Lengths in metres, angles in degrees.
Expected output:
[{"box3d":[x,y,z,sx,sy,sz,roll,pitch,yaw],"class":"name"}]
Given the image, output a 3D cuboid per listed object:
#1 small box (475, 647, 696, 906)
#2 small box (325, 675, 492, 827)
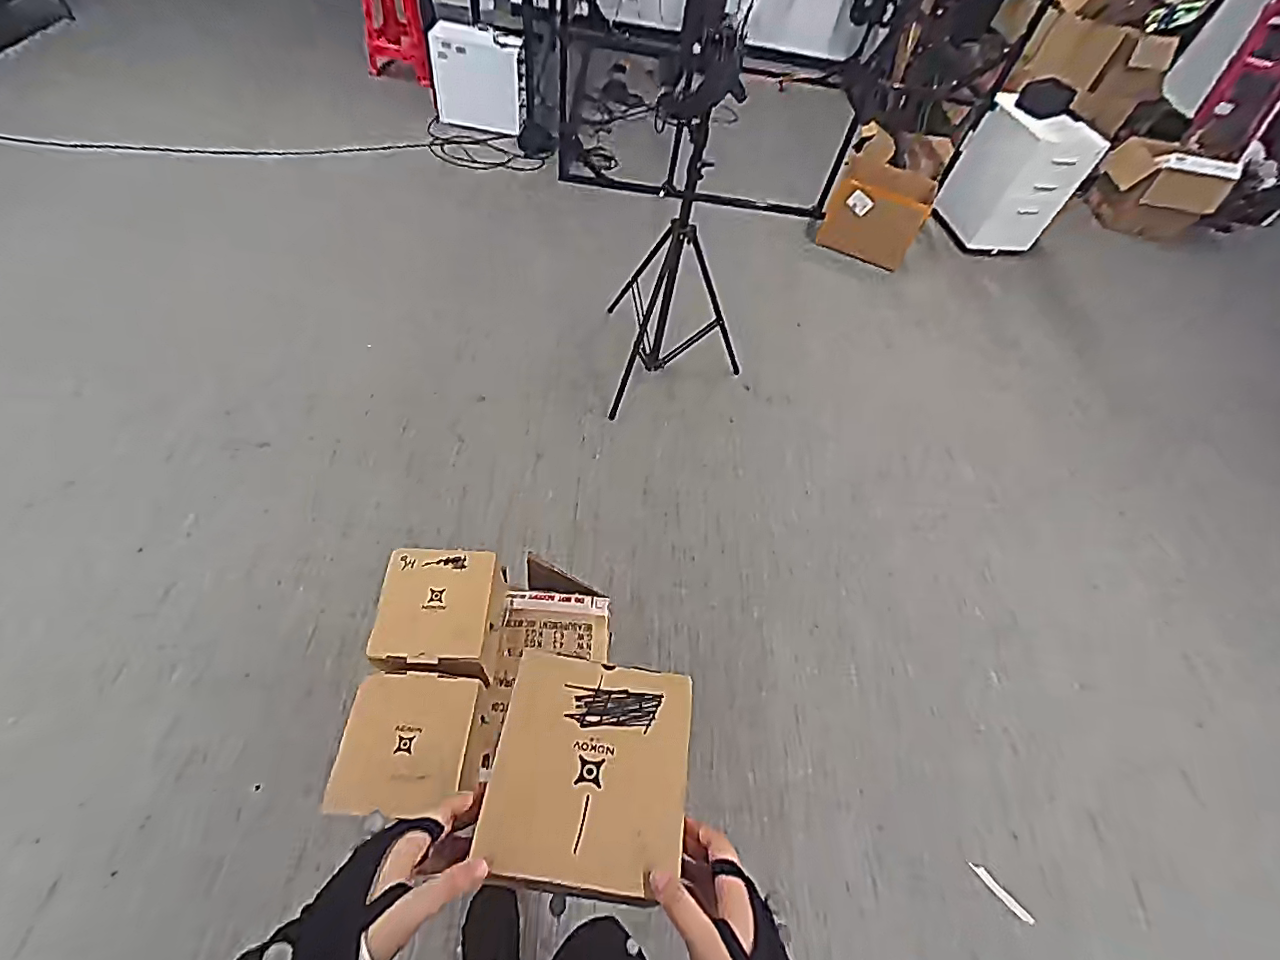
[{"box3d":[-0.048,0.289,0.524,0.168,0.176,0.179,10,51,-2],"class":"small box"},{"box3d":[-0.318,0.398,0.789,0.168,0.176,0.179,5,58,-4],"class":"small box"}]
